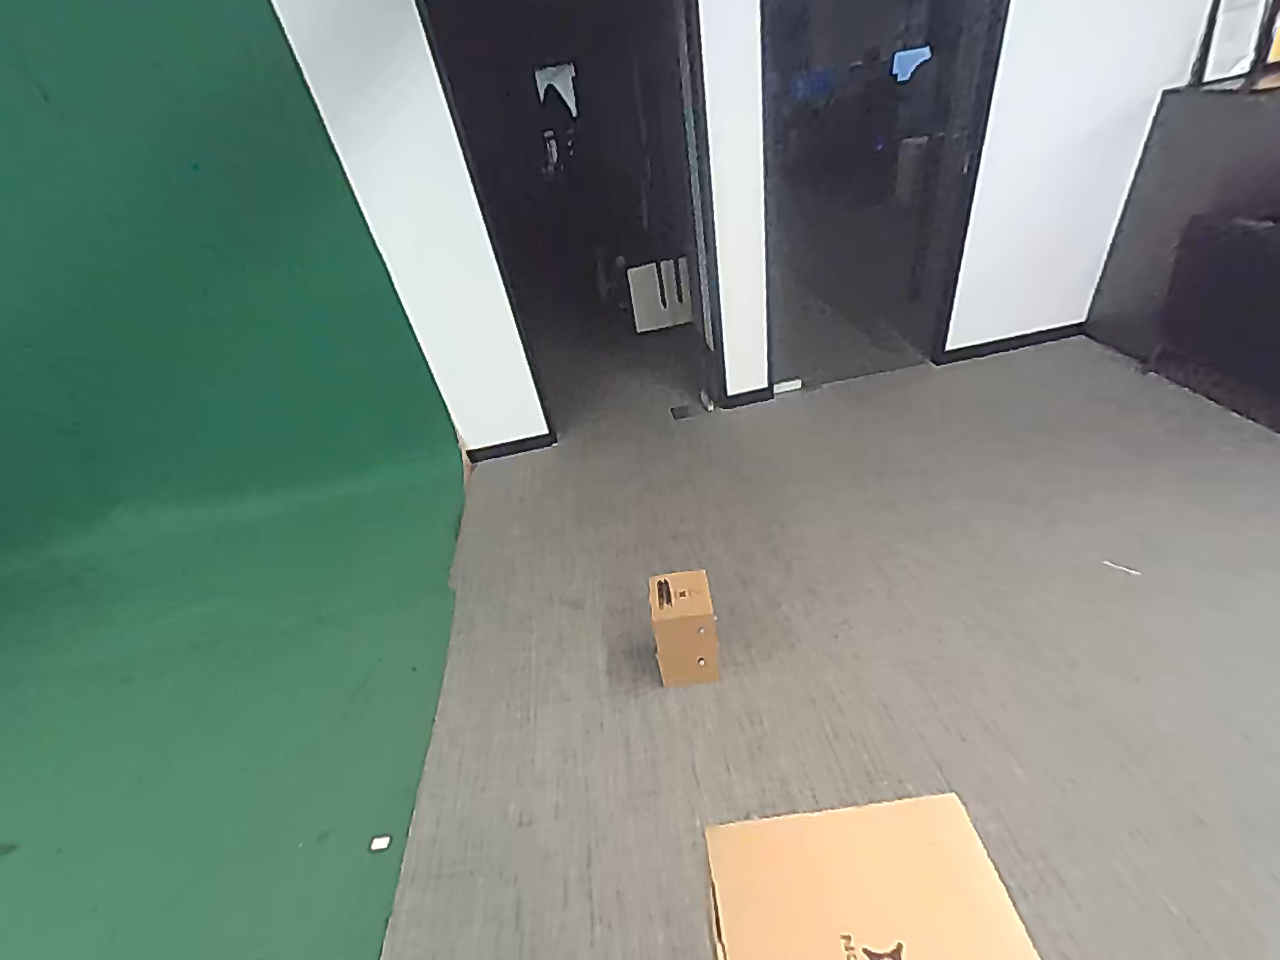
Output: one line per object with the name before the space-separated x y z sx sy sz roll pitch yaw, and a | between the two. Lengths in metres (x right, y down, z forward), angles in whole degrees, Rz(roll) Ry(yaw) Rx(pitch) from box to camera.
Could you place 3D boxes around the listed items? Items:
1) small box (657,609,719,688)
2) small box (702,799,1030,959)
small box | 0.150 0.530 1.693 0.179 0.176 0.168 -8 37 5
small box | 0.141 0.339 0.356 0.179 0.176 0.168 -9 40 0
